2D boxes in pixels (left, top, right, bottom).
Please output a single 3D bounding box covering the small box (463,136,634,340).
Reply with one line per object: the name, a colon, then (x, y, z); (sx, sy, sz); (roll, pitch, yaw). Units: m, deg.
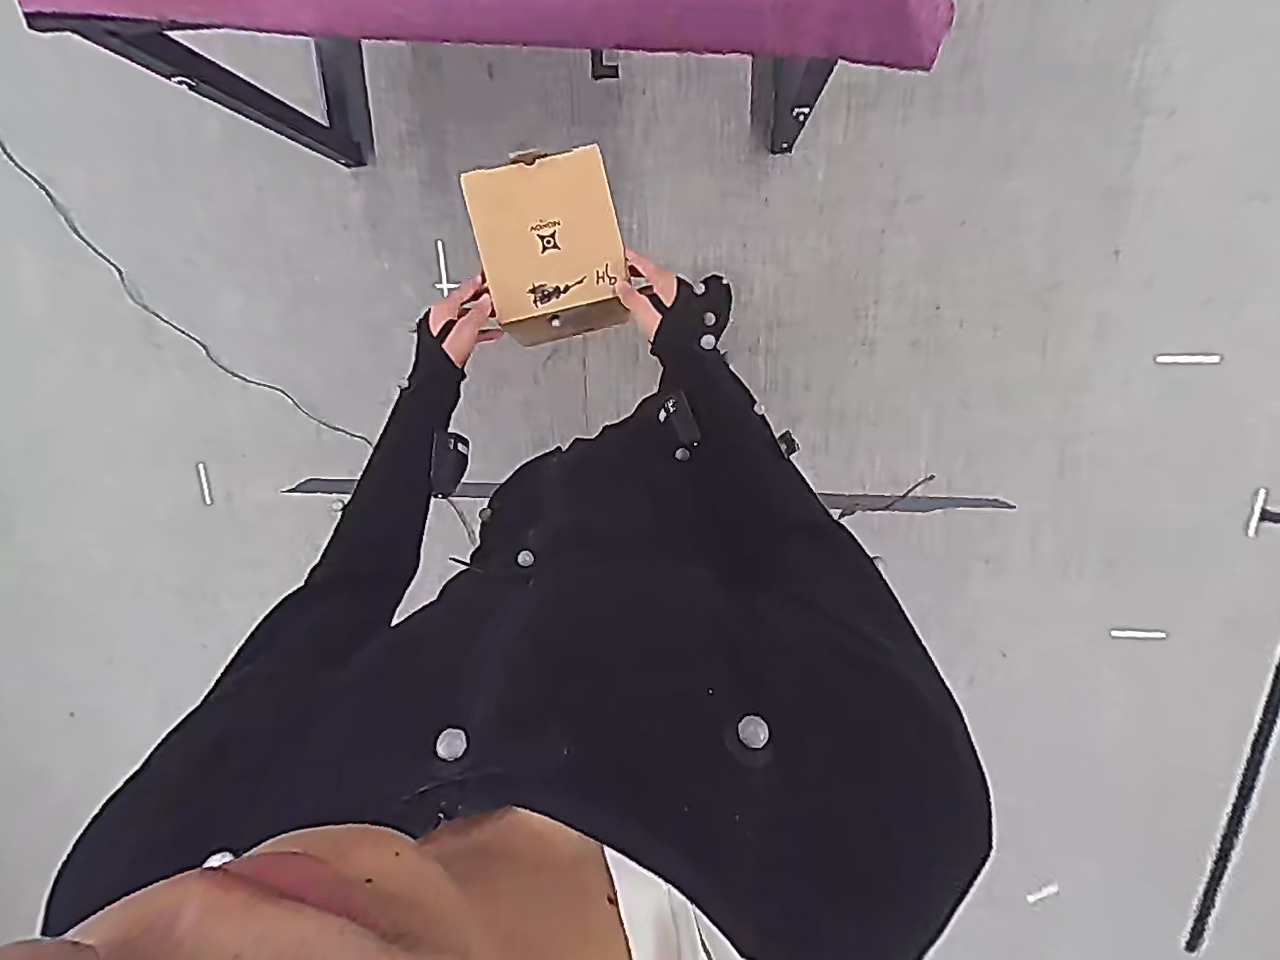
small box: (-0.109, -0.296, 0.698); (0.168, 0.176, 0.179); (-14, 95, -1)
